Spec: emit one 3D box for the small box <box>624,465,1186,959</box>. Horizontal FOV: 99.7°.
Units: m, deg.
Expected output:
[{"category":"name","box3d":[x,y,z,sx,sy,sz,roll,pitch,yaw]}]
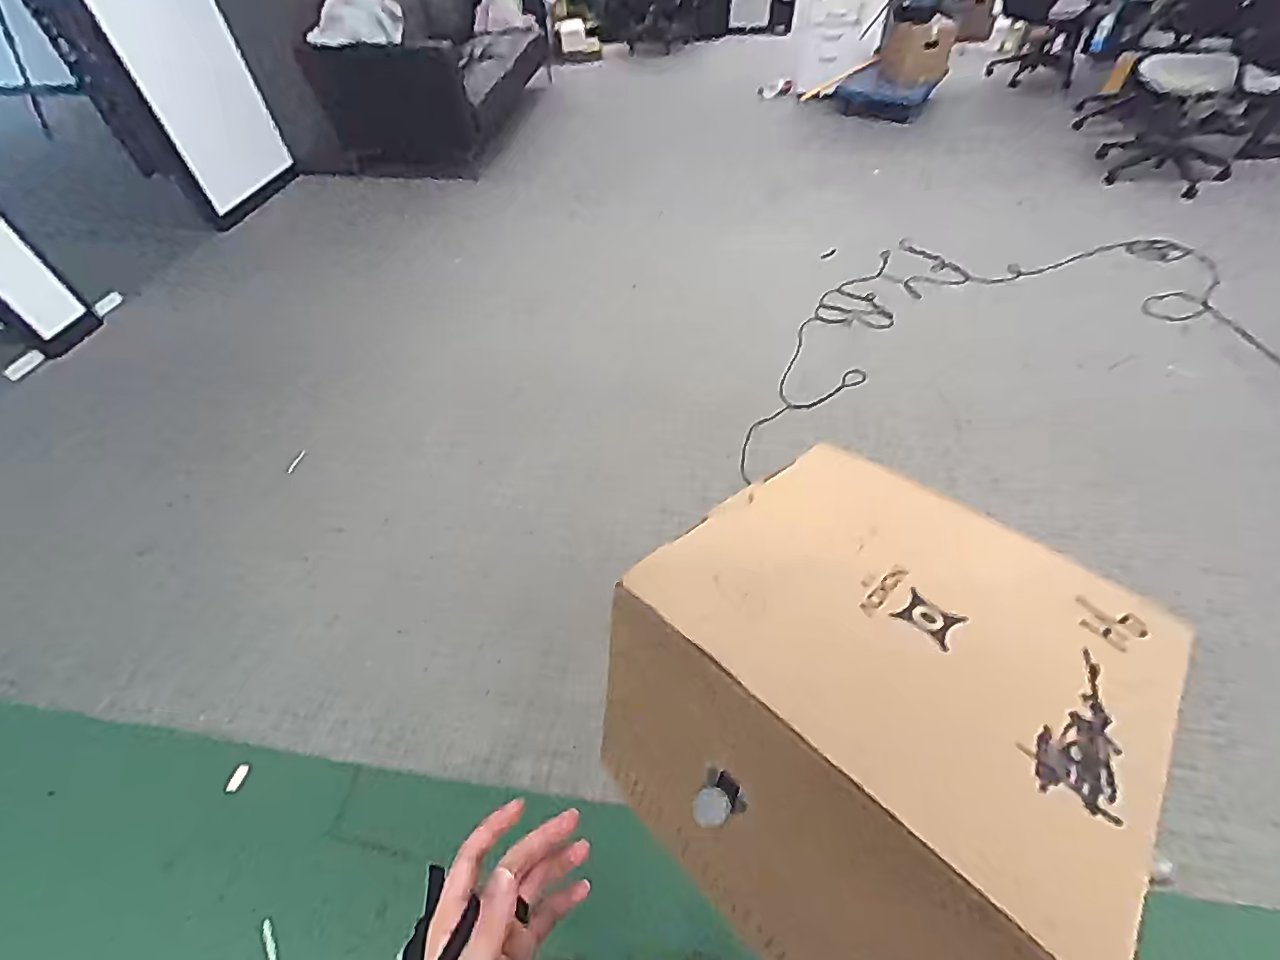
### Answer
[{"category":"small box","box3d":[0.106,0.124,0.272,0.179,0.176,0.168,33,45,32]}]
